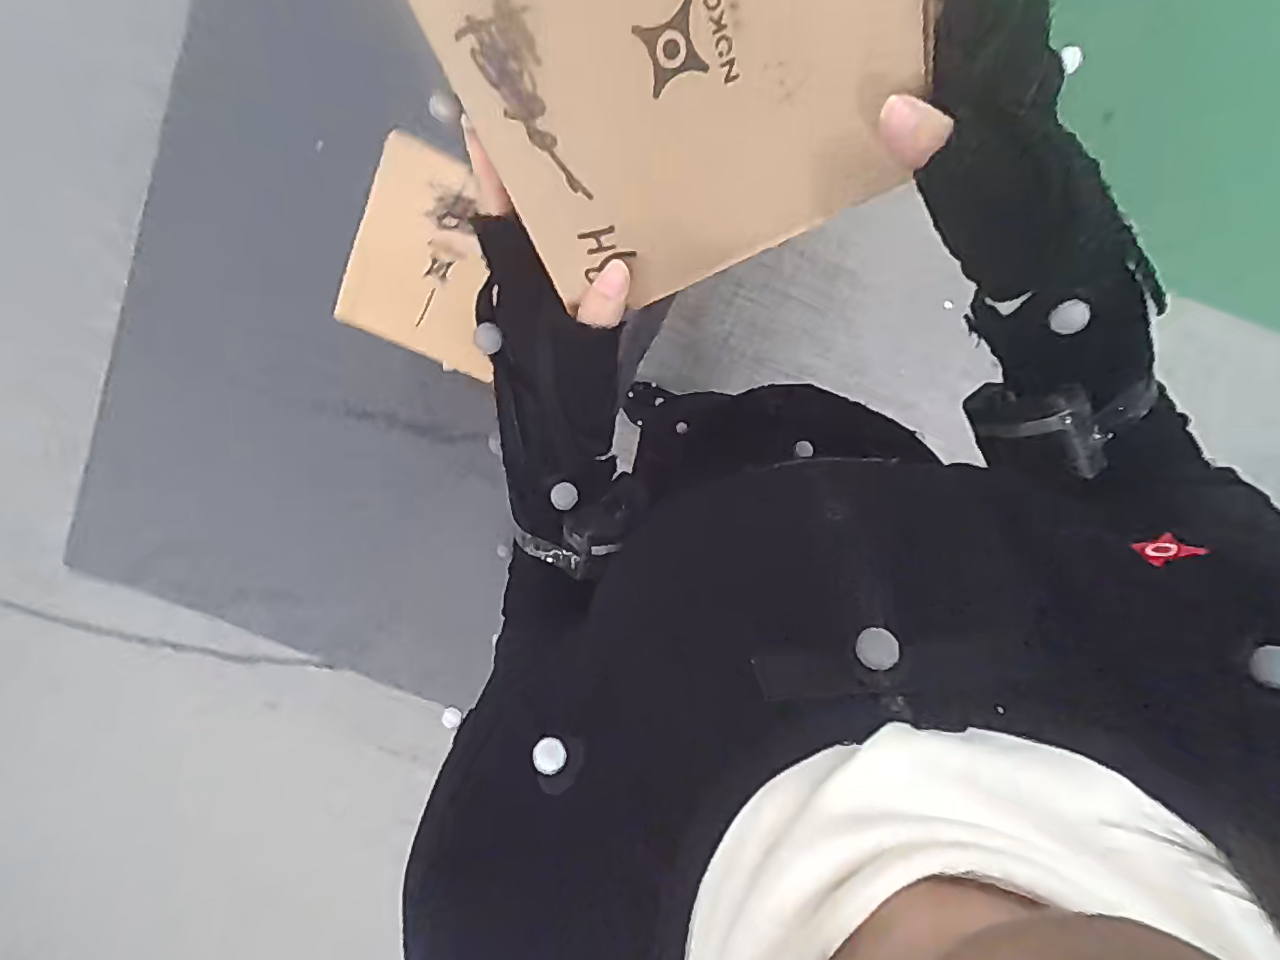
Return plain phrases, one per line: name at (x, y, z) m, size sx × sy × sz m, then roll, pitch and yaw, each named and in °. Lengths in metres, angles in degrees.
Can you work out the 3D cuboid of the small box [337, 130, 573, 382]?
small box at (-0.176, -0.217, 0.578) m, size 0.168 × 0.176 × 0.179 m, roll 24°, pitch 99°, yaw -1°
